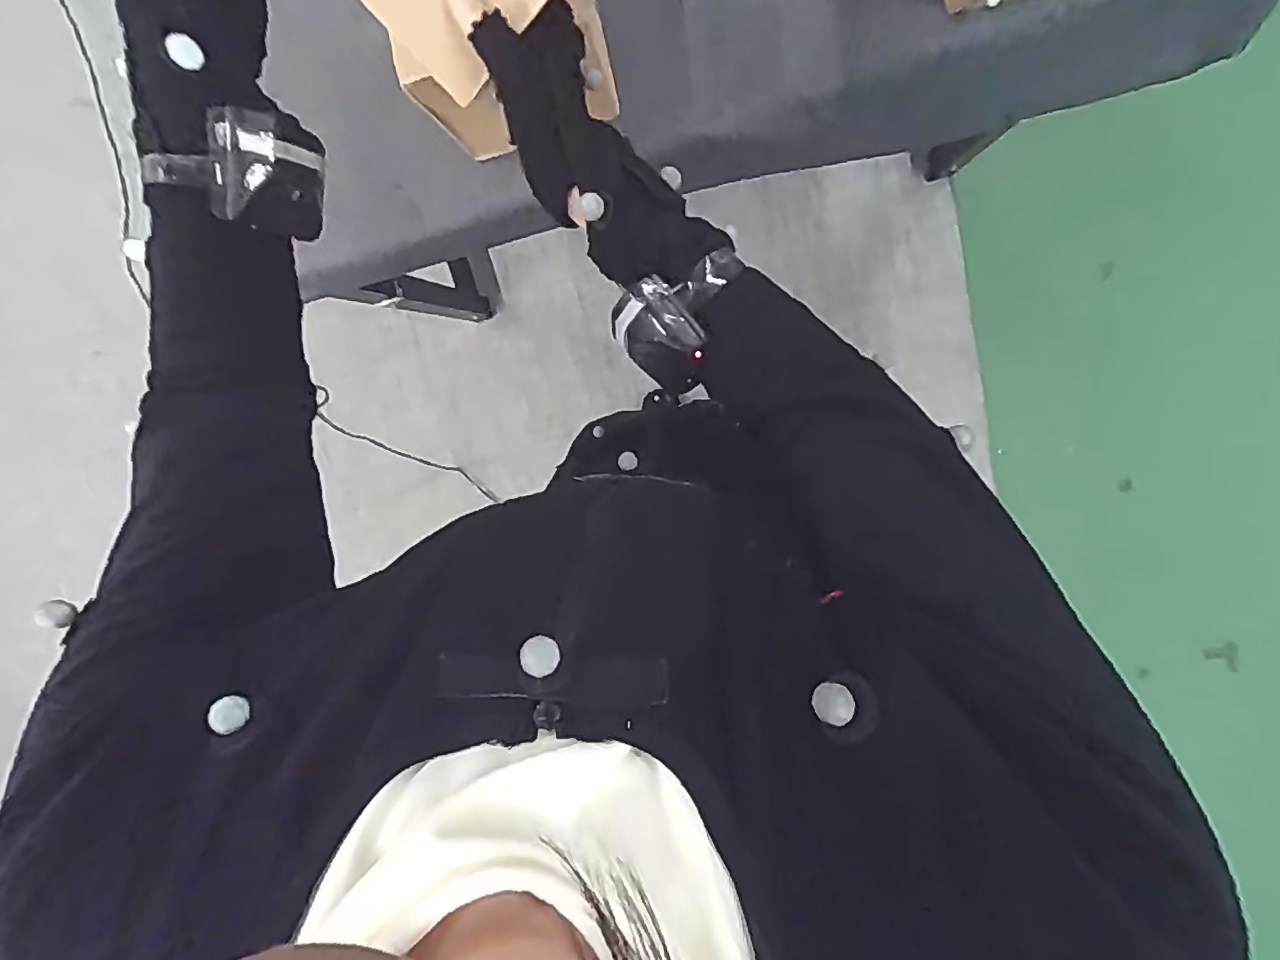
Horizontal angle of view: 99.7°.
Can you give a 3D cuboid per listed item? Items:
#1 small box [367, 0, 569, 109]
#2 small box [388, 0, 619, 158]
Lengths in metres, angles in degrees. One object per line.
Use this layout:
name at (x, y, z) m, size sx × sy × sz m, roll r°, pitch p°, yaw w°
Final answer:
small box at (-0.108, -0.380, 0.336) m, size 0.179 × 0.176 × 0.168 m, roll -39°, pitch 124°, yaw 23°
small box at (-0.133, -0.455, 0.538) m, size 0.179 × 0.176 × 0.168 m, roll -12°, pitch 98°, yaw 9°
